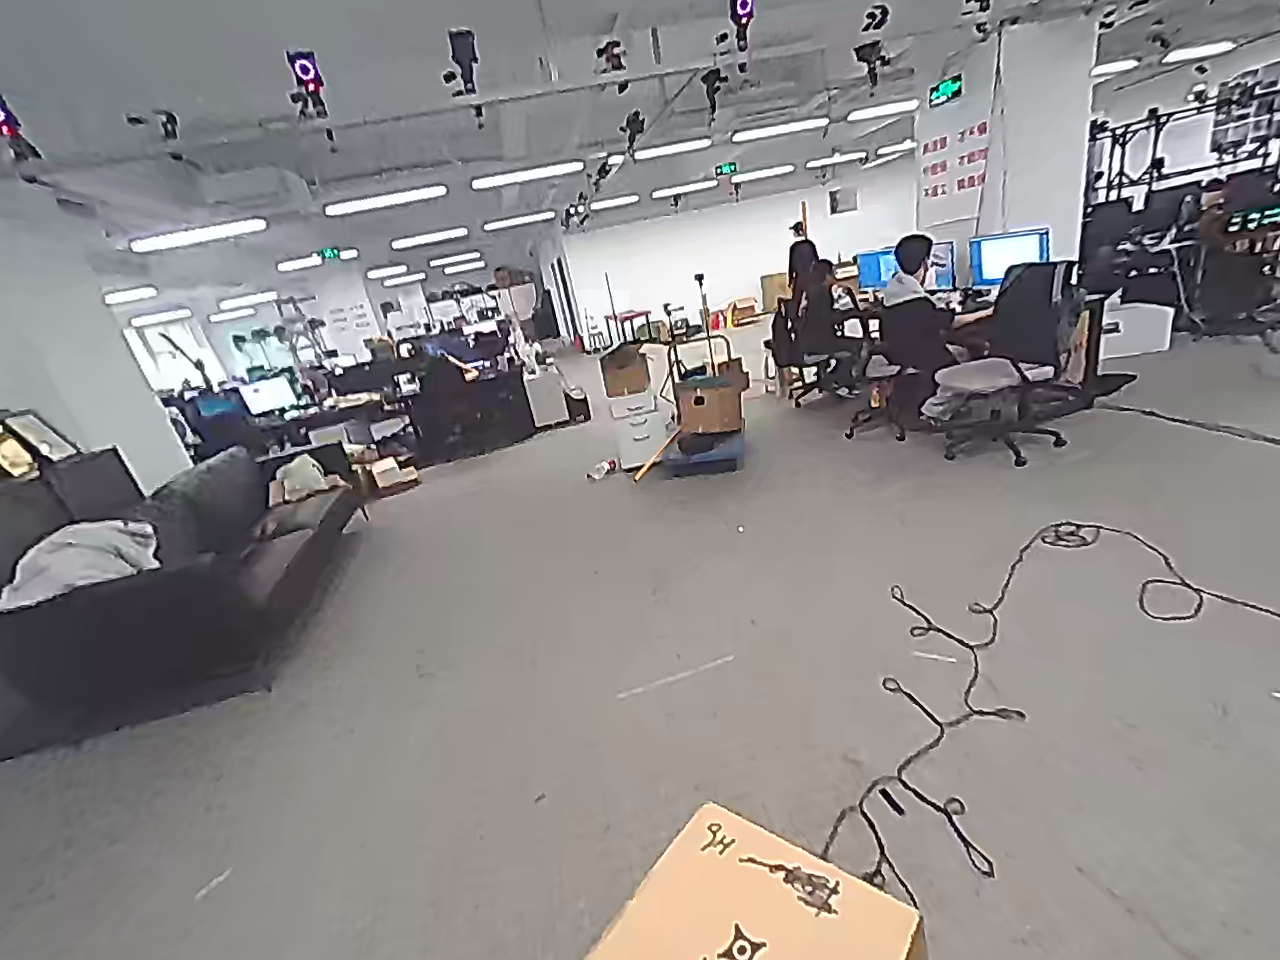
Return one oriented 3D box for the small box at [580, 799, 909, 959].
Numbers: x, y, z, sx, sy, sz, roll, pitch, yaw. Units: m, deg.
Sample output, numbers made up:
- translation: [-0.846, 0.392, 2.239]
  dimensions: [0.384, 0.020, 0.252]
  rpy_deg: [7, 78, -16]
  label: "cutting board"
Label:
- translation: [0.077, 0.370, 0.356]
  dimensions: [0.168, 0.176, 0.179]
  rpy_deg: [1, 22, 45]
  label: "small box"
